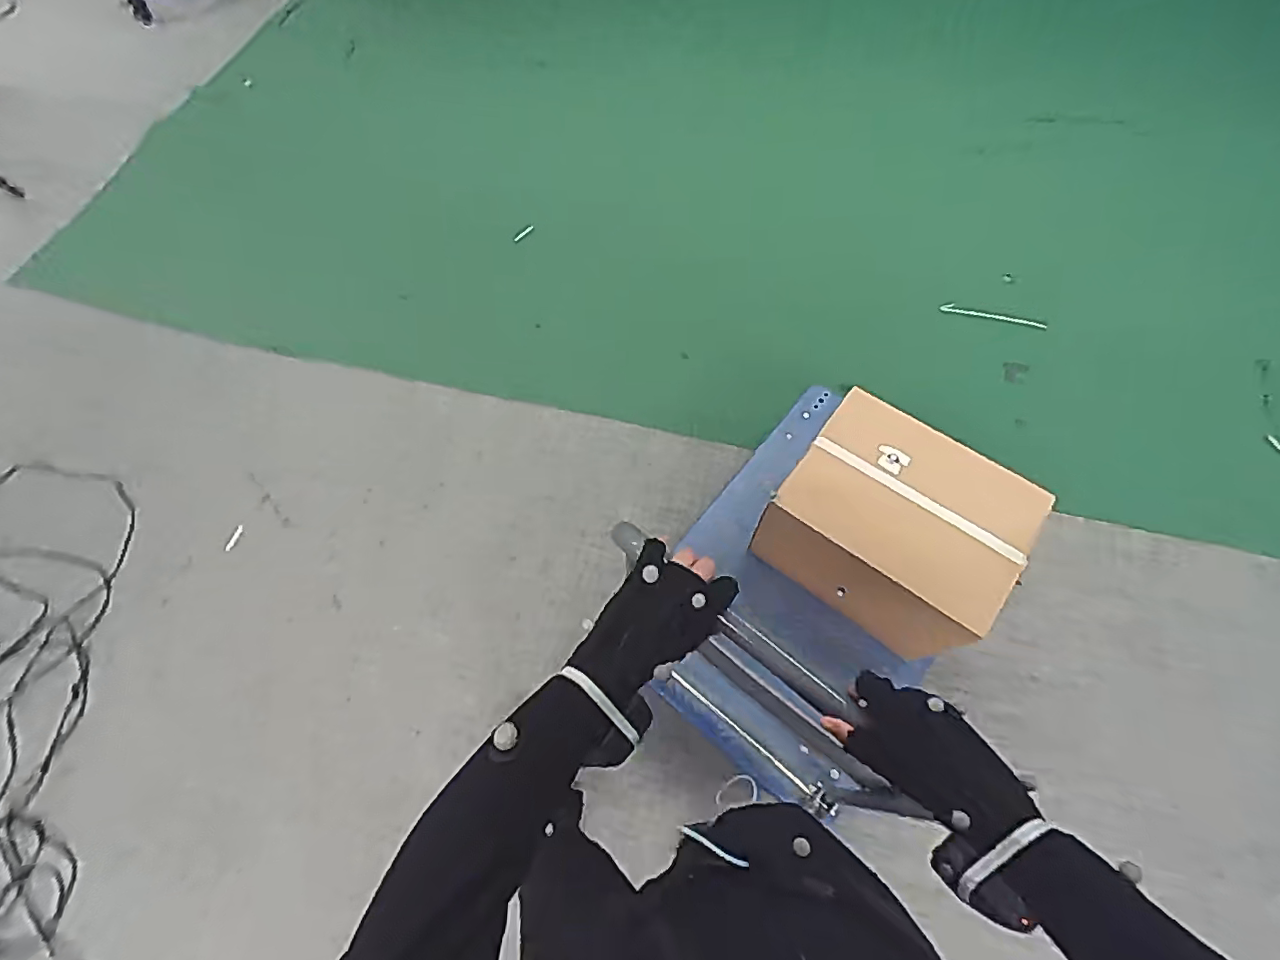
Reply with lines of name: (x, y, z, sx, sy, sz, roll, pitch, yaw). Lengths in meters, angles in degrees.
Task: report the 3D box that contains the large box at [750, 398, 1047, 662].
large box: (0.489, 0.112, 1.107, 0.408, 0.320, 0.320, 34, 71, 19)
